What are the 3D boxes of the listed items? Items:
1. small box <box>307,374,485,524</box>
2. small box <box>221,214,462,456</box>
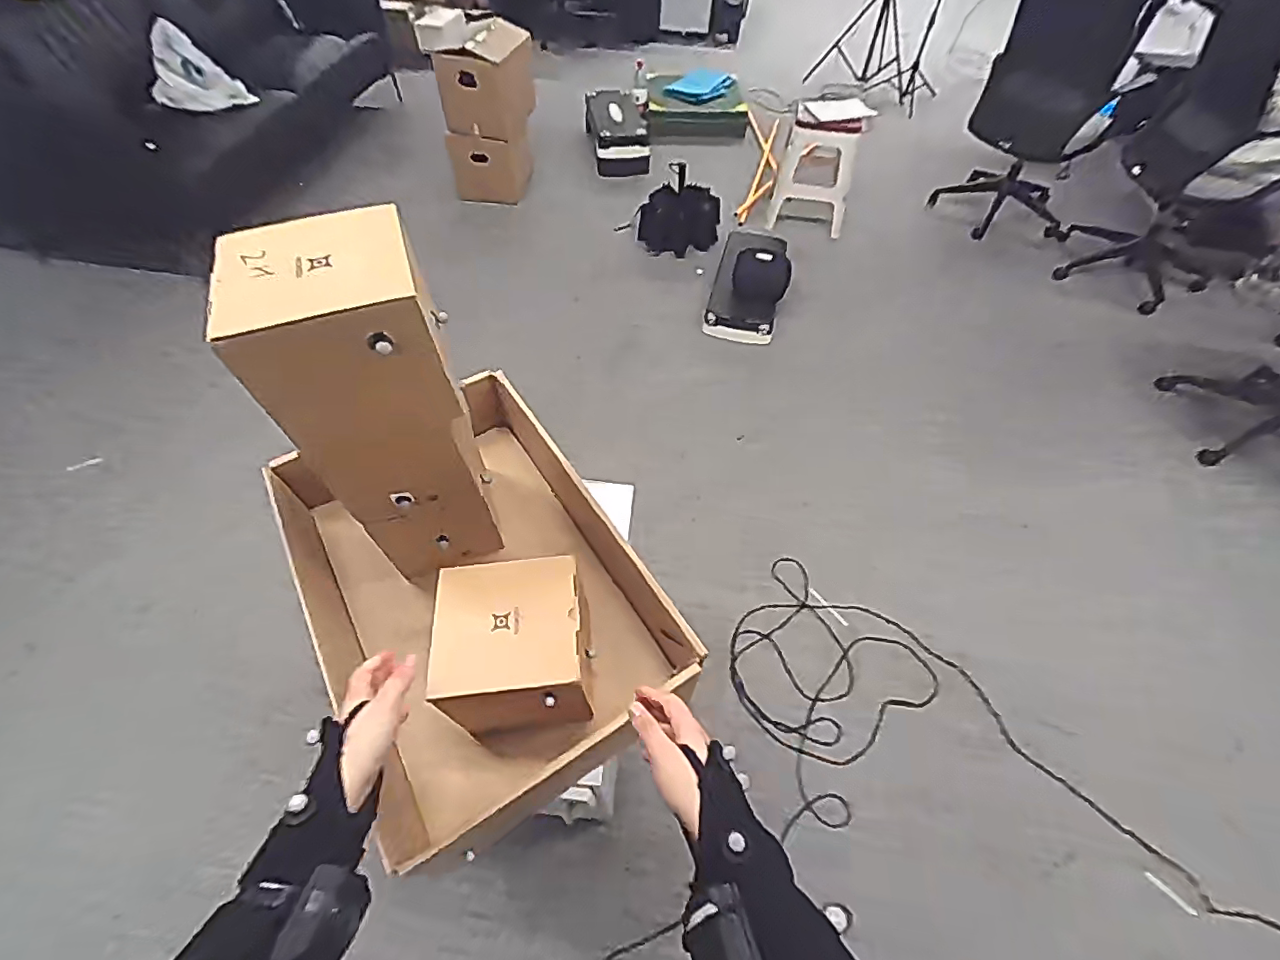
[{"bbox_3d":[-0.319,-0.068,0.731,0.168,0.176,0.179,-15,57,-8],"label":"small box"},{"bbox_3d":[-0.307,-0.154,0.590,0.179,0.176,0.168,-18,56,-11],"label":"small box"}]
